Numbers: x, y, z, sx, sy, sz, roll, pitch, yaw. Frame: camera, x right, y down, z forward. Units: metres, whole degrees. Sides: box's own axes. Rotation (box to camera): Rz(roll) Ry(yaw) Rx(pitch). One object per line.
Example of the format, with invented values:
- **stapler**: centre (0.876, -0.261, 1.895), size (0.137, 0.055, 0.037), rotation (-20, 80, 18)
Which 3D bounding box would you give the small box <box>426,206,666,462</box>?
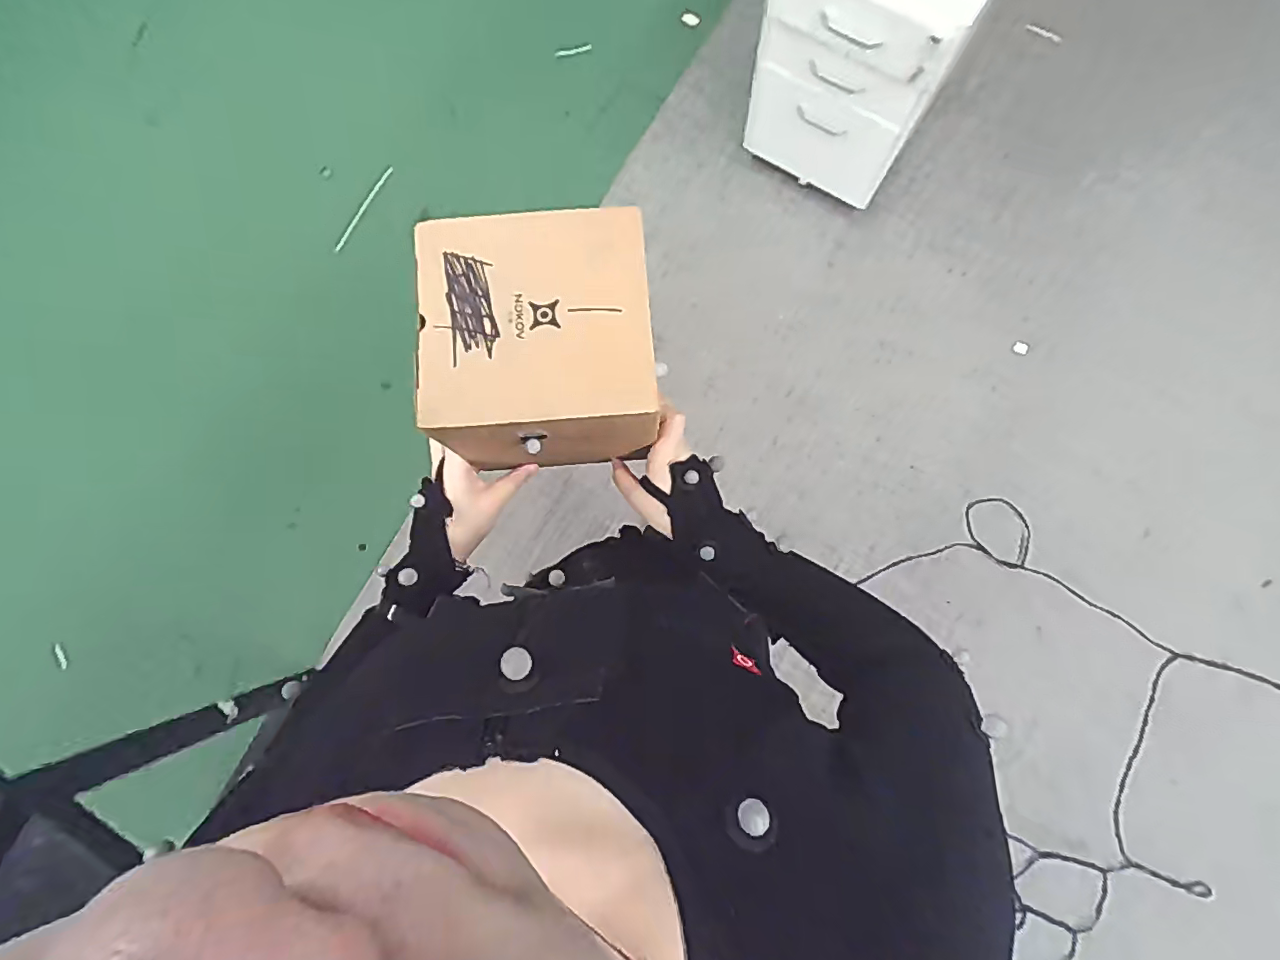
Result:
- **small box**: centre (-0.071, -0.112, 0.479), size (0.179, 0.176, 0.168), rotation (-3, 81, -2)
